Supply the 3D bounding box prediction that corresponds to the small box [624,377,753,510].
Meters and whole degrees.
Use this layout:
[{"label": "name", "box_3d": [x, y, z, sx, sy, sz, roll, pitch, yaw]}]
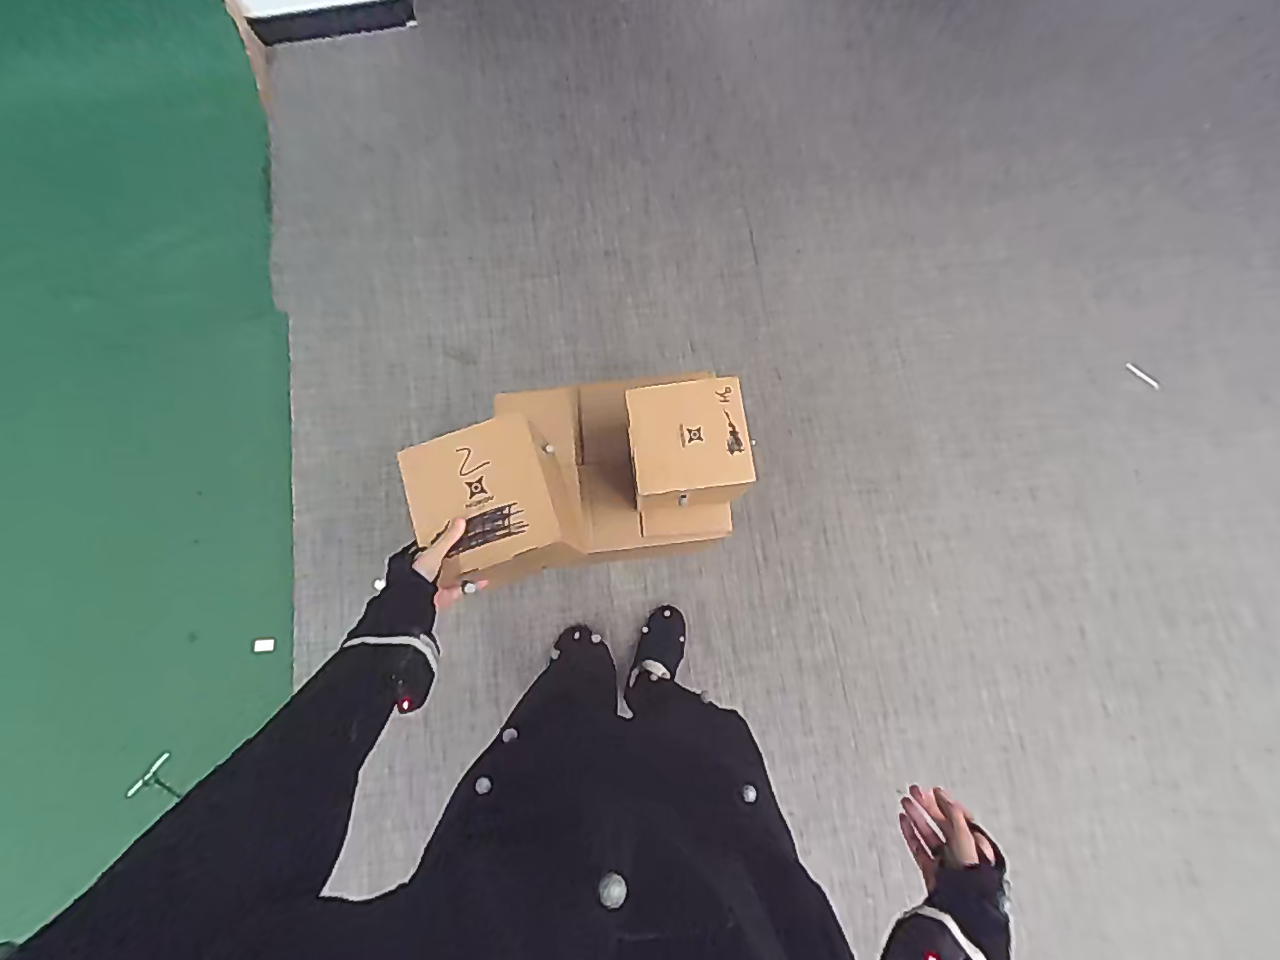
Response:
[{"label": "small box", "box_3d": [0.073, -0.050, 0.872, 0.179, 0.176, 0.168, -7, 79, 0]}]
